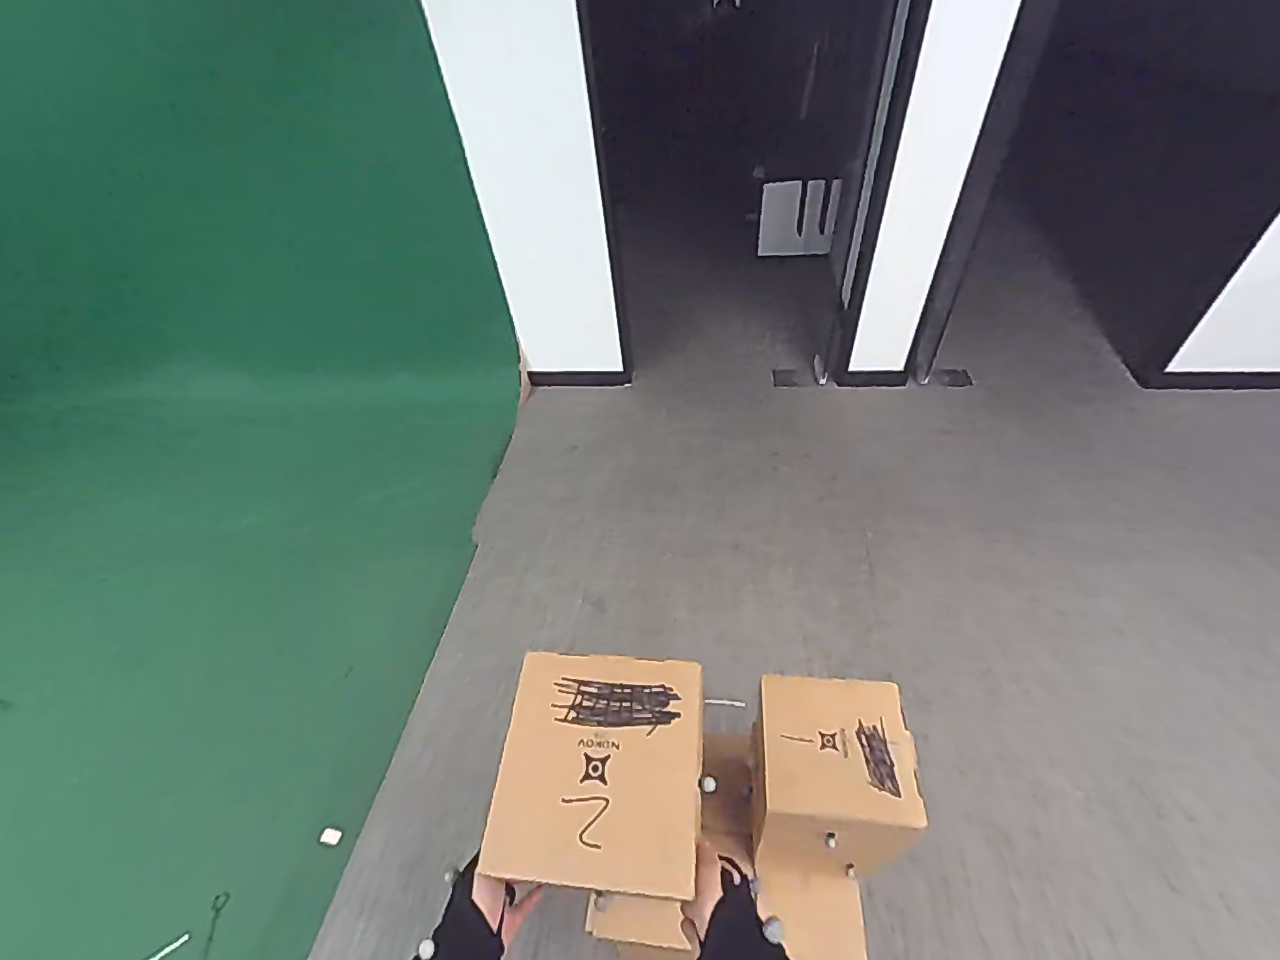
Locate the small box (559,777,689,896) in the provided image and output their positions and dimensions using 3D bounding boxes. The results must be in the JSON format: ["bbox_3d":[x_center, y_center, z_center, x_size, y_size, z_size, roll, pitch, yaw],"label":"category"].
[{"bbox_3d":[-0.013,0.520,0.838,0.168,0.176,0.179,4,47,8],"label":"small box"}]

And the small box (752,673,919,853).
[{"bbox_3d":[0.243,0.378,0.720,0.179,0.176,0.168,1,46,10],"label":"small box"}]

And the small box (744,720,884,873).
[{"bbox_3d":[0.256,0.491,0.838,0.179,0.176,0.168,1,46,9],"label":"small box"}]
